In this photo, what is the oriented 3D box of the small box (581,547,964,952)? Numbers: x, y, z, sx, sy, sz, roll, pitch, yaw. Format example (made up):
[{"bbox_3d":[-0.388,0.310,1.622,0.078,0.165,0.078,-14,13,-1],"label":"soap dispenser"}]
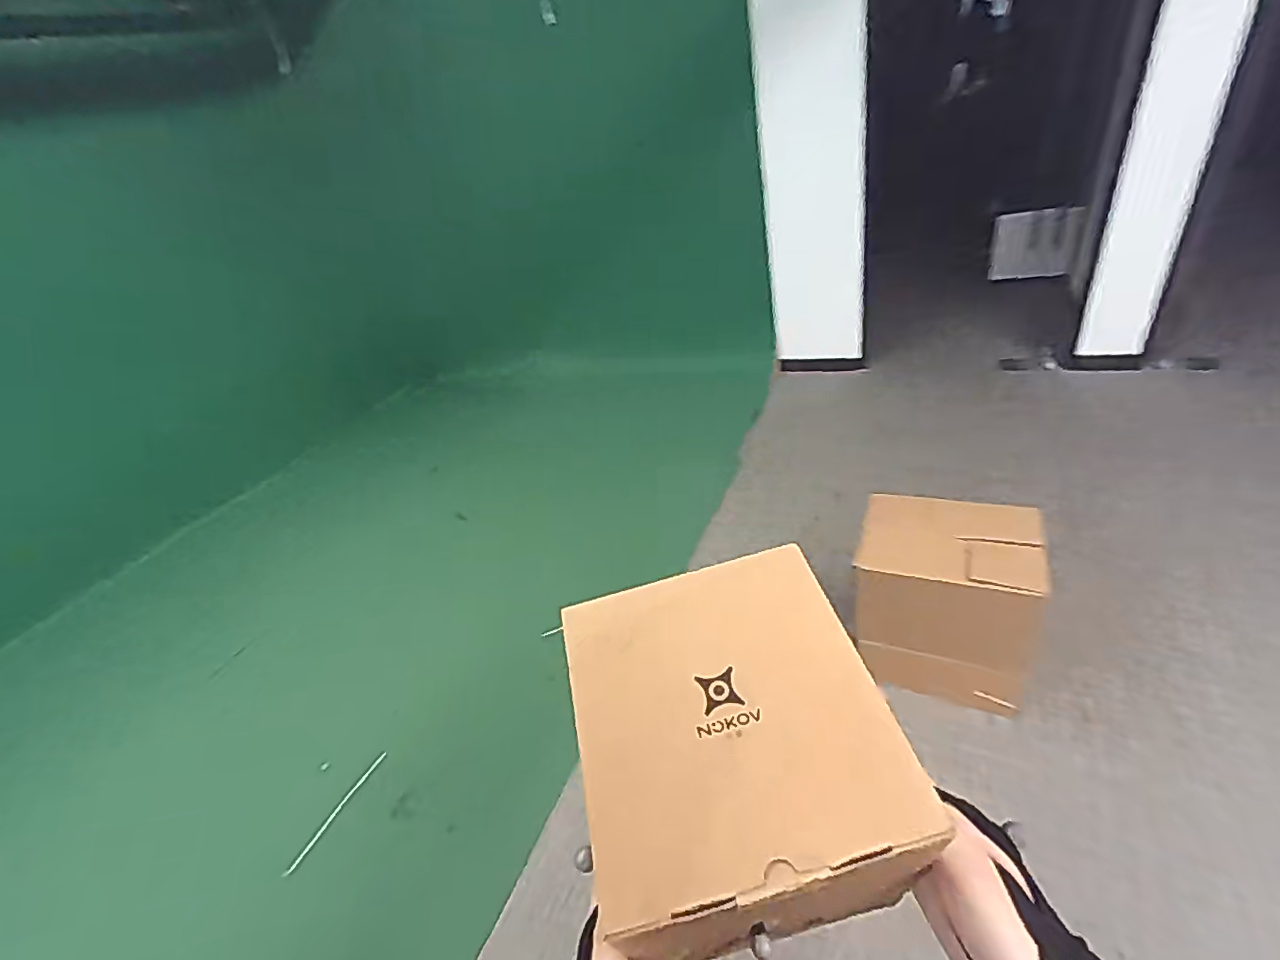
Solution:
[{"bbox_3d":[0.065,0.177,0.358,0.168,0.176,0.179,-14,46,-2],"label":"small box"}]
